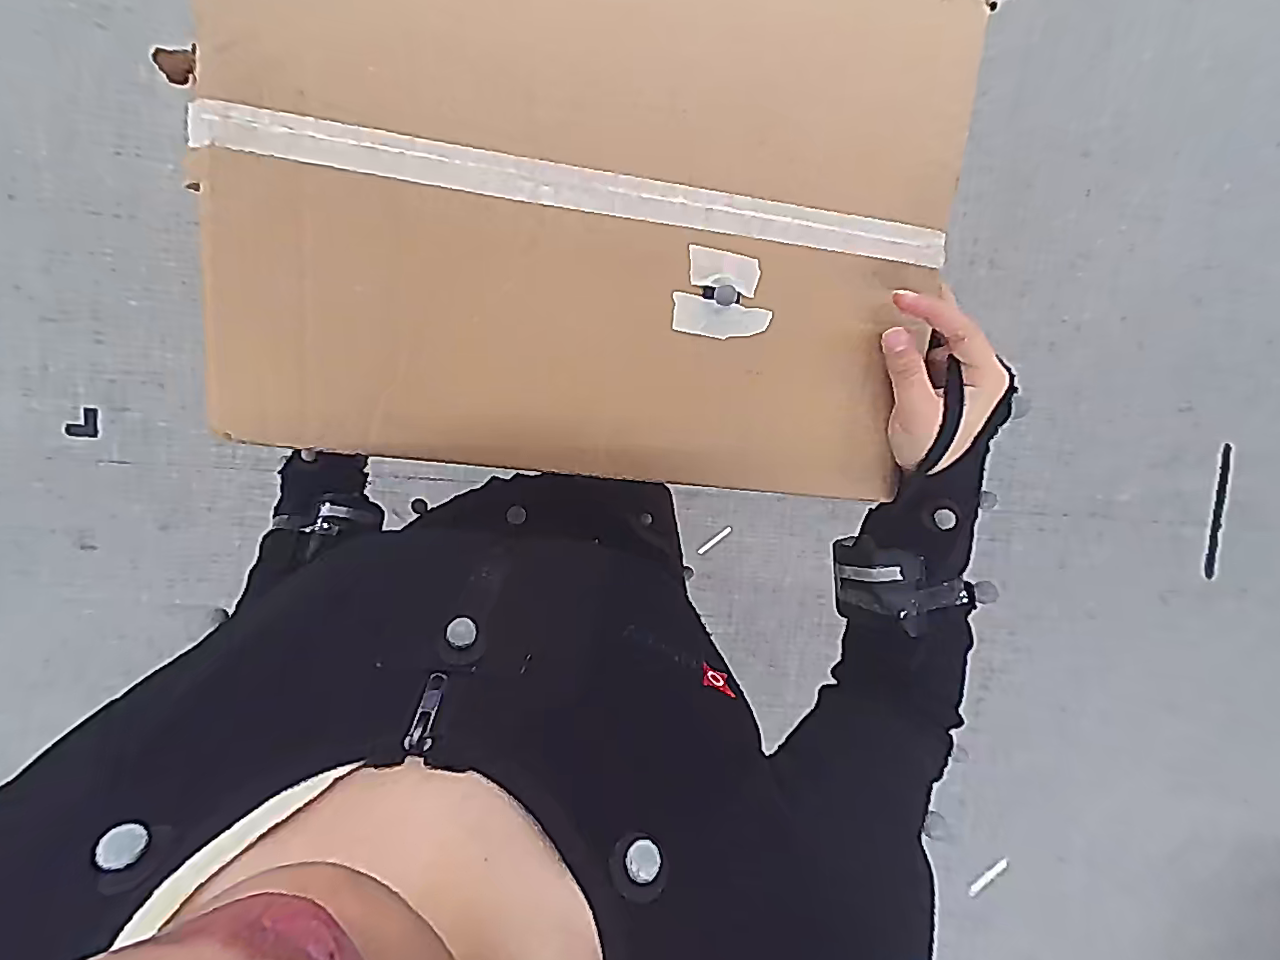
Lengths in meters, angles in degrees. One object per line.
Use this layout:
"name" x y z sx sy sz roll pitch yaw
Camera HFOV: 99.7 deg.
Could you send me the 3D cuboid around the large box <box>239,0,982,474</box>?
"large box" -0.032 -0.193 0.450 0.408 0.320 0.320 5 100 -11
